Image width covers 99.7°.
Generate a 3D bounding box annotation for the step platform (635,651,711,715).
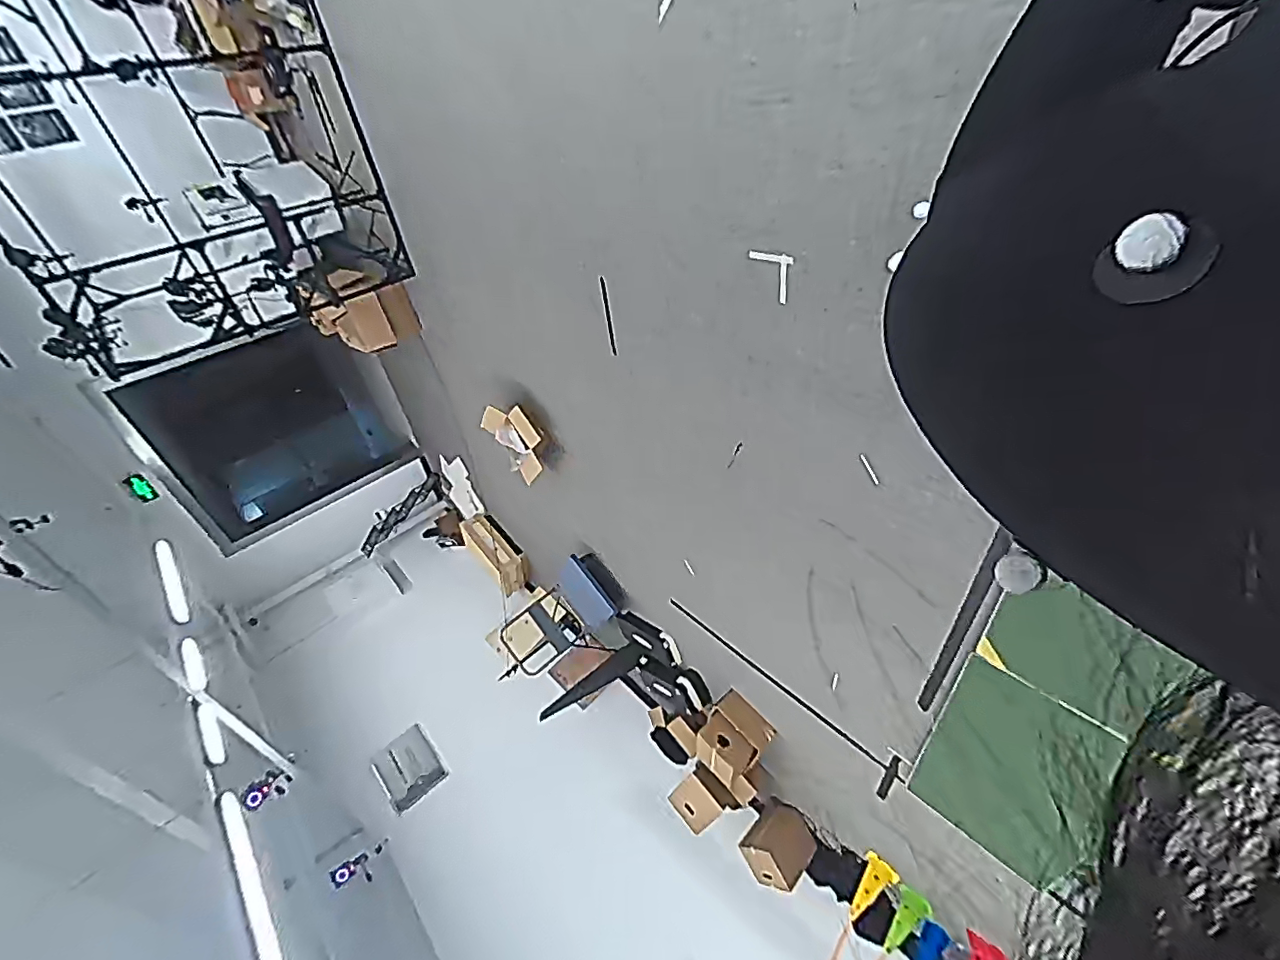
[{"bbox_3d":[0.242,1.600,4.269,0.684,0.204,0.286,-3,117,57],"label":"step platform"}]
